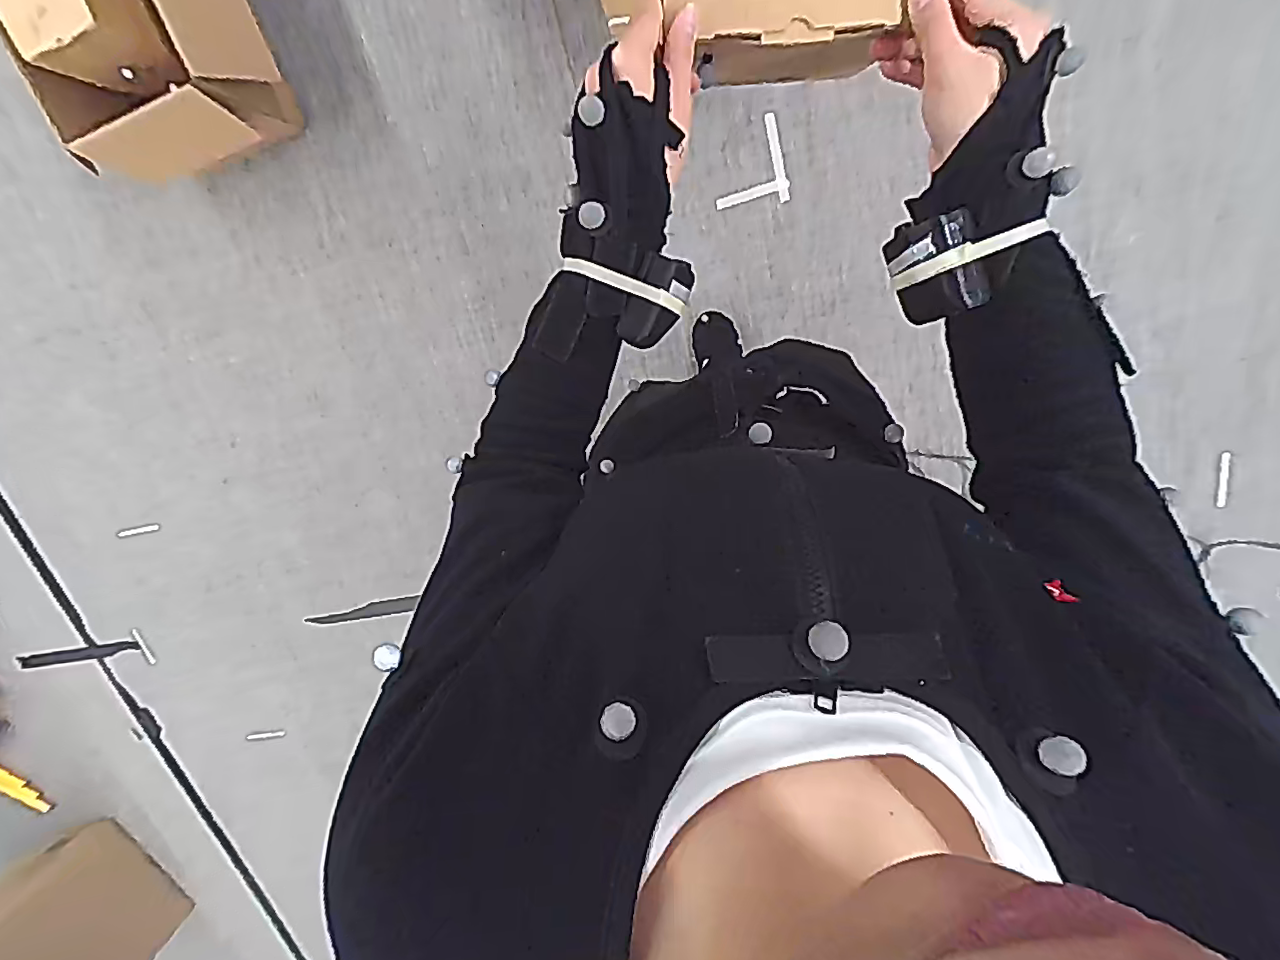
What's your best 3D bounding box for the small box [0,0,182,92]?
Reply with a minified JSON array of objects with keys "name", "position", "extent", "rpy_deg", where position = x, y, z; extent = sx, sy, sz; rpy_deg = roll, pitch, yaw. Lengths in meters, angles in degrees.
[{"name":"small box","position":[-0.994,-0.843,0.968],"extent":[0.168,0.176,0.179],"rpy_deg":[-14,108,11]}]
